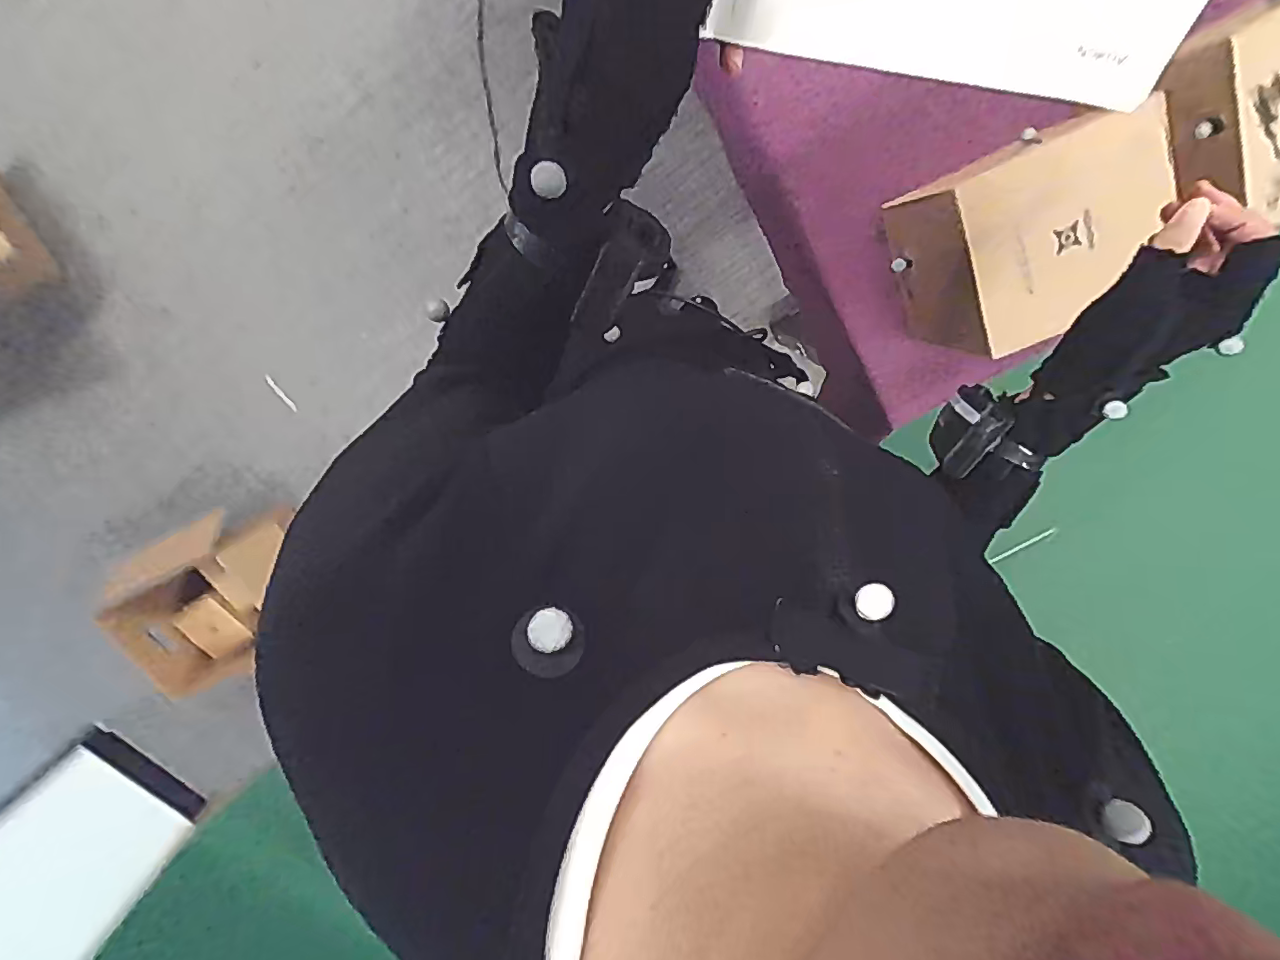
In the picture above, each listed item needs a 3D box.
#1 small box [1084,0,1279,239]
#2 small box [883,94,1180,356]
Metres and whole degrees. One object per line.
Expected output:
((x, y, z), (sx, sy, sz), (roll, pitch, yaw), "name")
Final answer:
((0.579, -0.347, 0.510), (0.179, 0.176, 0.168), (-24, 110, 9), "small box")
((0.382, -0.247, 0.552), (0.179, 0.176, 0.168), (-22, 110, 9), "small box")
